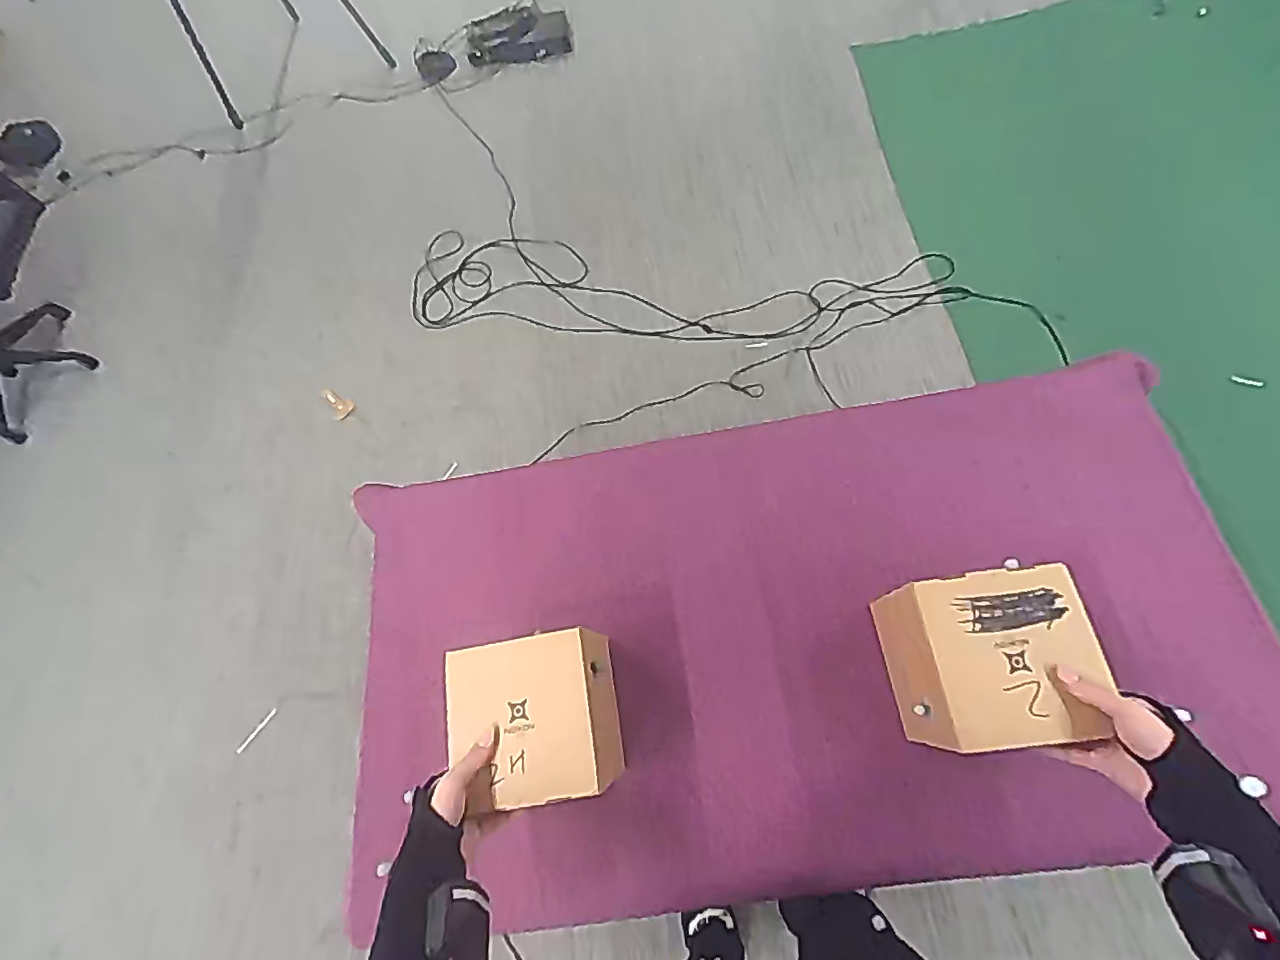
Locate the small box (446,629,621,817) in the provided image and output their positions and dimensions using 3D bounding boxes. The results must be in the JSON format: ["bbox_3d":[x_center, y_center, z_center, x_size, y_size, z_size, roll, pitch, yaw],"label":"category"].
[{"bbox_3d":[-0.126,0.296,0.678,0.168,0.176,0.179,-12,69,5],"label":"small box"}]
